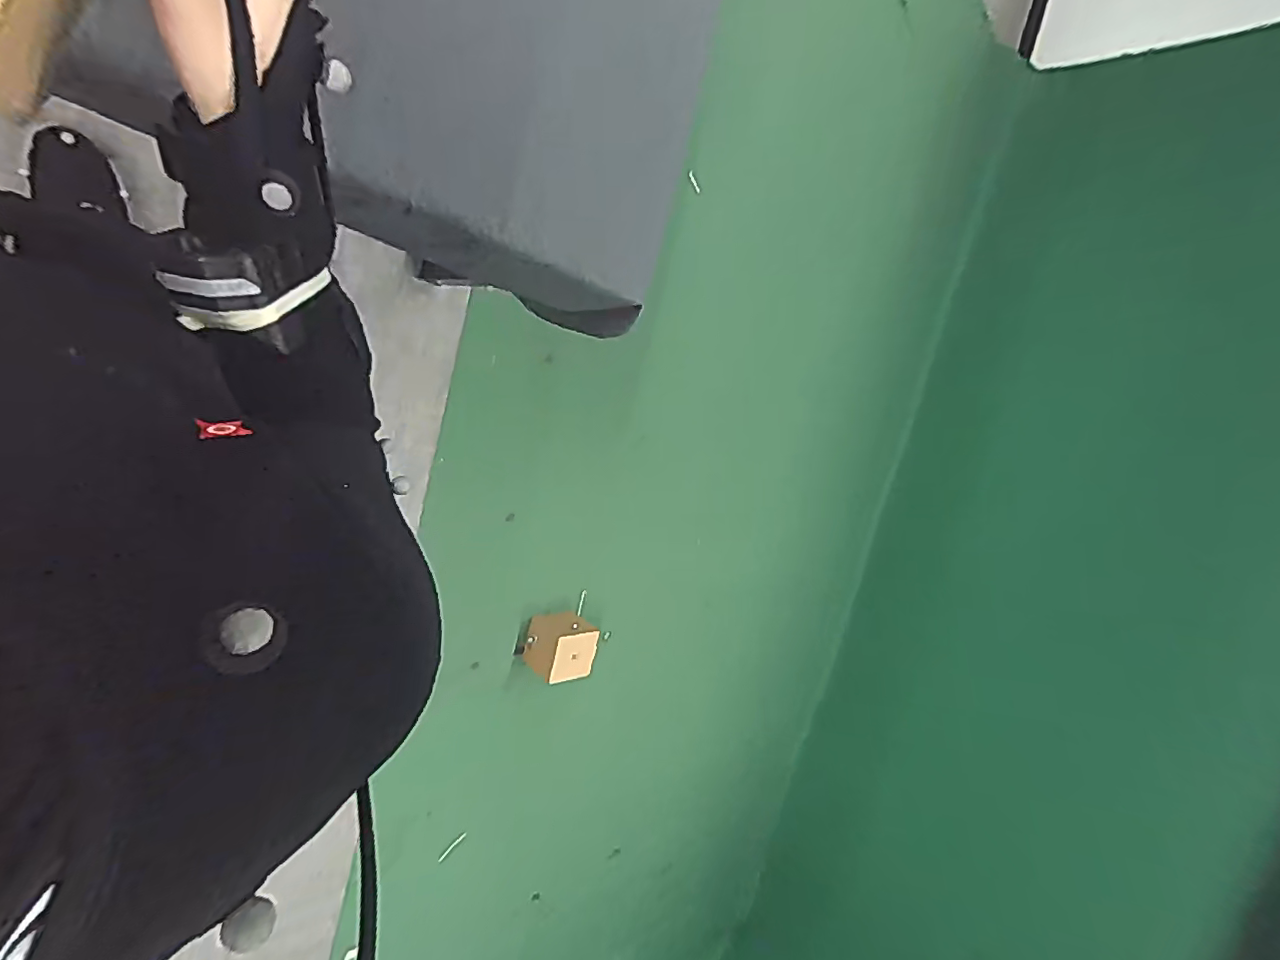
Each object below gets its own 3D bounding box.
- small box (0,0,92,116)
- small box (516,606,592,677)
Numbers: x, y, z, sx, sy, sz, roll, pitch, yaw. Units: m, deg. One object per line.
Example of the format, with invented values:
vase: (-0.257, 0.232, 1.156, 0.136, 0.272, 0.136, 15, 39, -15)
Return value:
small box: (-0.272, -0.247, 0.162, 0.168, 0.176, 0.179, 27, 92, -49)
small box: (-0.295, 0.543, 1.846, 0.179, 0.176, 0.168, 6, 101, -46)
